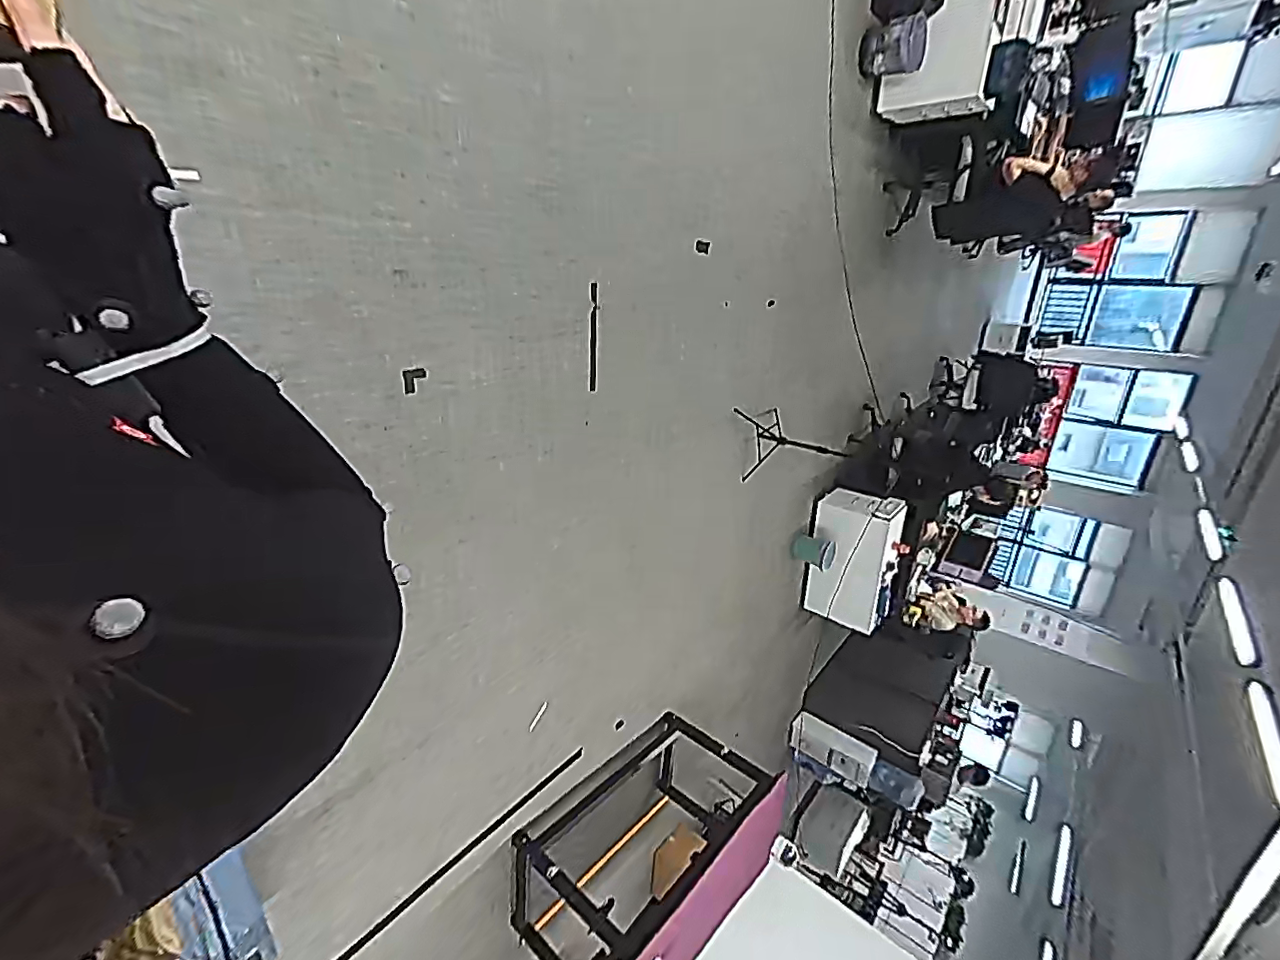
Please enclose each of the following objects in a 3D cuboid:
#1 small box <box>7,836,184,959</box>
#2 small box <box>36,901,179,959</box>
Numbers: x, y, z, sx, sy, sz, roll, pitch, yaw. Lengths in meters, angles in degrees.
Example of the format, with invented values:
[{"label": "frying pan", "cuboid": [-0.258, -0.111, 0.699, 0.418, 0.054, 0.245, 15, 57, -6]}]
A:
[{"label": "small box", "cuboid": [-0.925, 0.755, 0.921, 0.168, 0.176, 0.179, -25, 122, -43]}, {"label": "small box", "cuboid": [-0.808, 0.802, 0.816, 0.168, 0.176, 0.179, -23, 121, -44]}]
